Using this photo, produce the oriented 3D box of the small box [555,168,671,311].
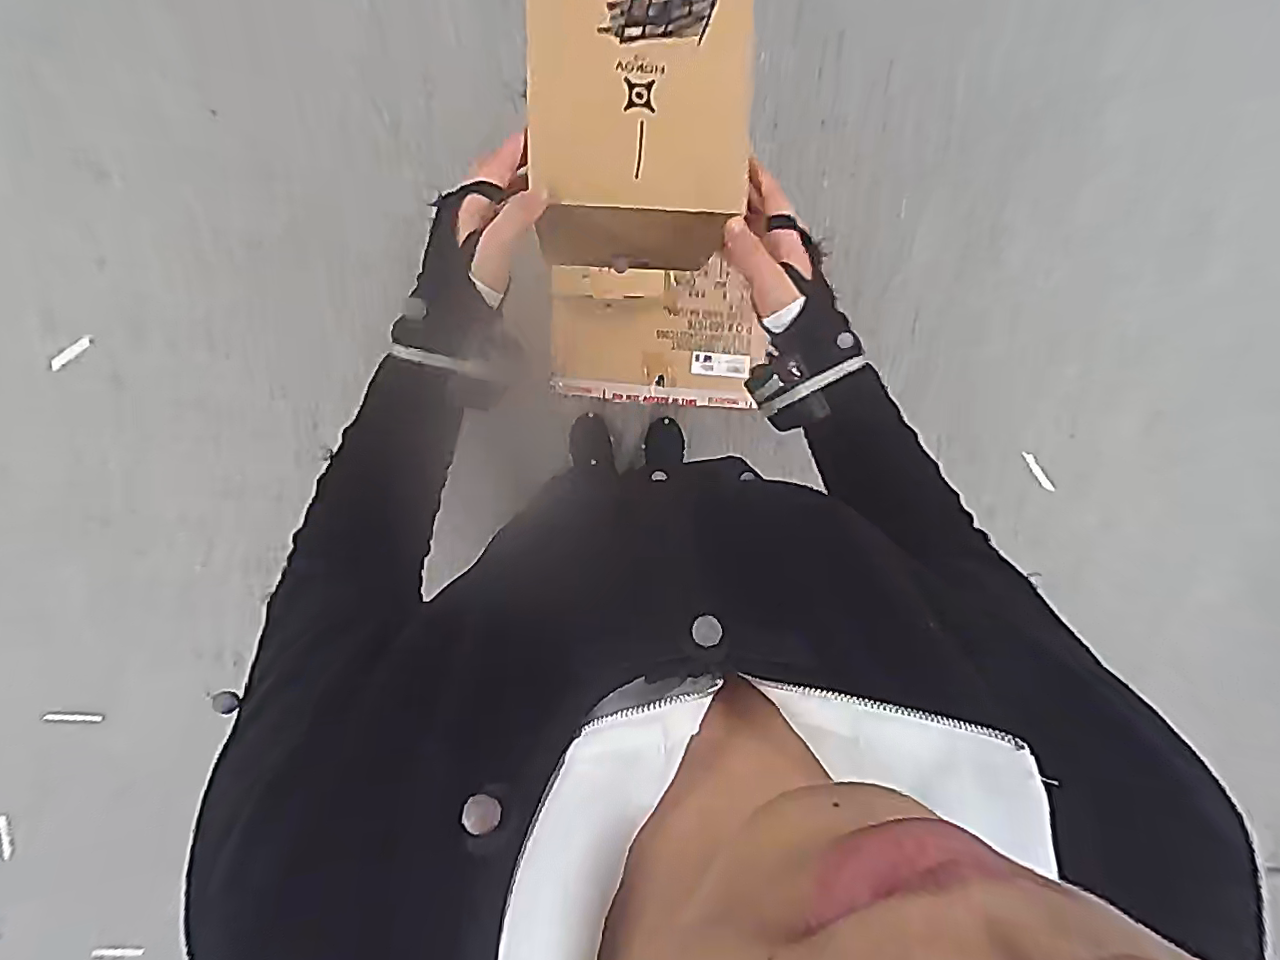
[{"bbox_3d":[-0.043,-0.365,0.848,0.168,0.176,0.179,1,103,-2],"label":"small box"}]
